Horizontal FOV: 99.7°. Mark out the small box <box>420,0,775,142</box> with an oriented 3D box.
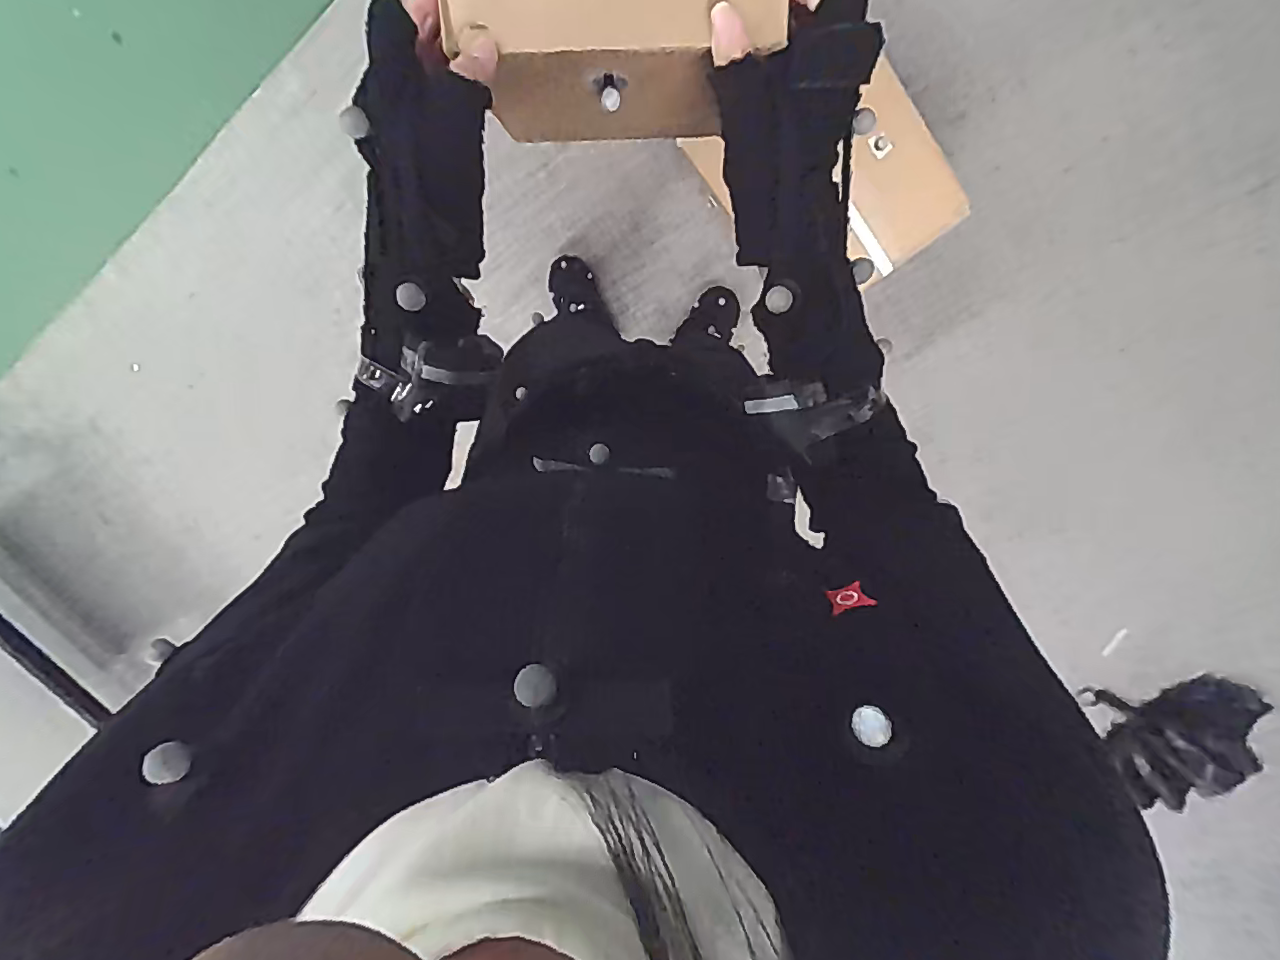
[{"bbox_3d":[-0.023,-0.315,0.320,0.179,0.176,0.168,-3,110,0],"label":"small box"}]
